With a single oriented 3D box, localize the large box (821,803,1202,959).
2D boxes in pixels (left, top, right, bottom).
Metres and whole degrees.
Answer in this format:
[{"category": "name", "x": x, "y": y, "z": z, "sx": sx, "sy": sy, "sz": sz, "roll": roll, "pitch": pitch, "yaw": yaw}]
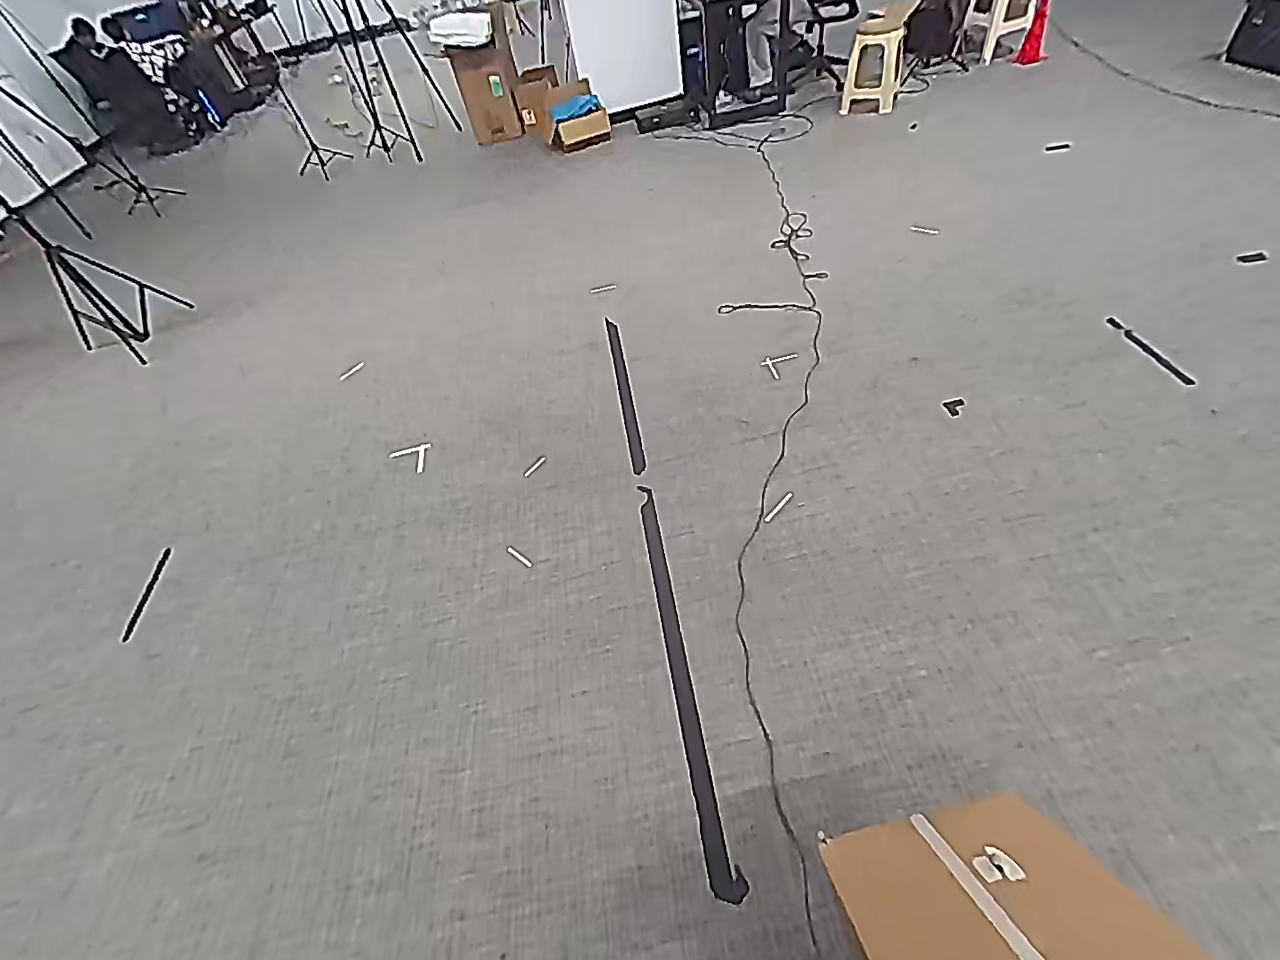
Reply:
[{"category": "large box", "x": 0.463, "y": 0.673, "z": 0.630, "sx": 0.320, "sy": 0.408, "sz": 0.320, "roll": -15, "pitch": 87, "yaw": 1}]
